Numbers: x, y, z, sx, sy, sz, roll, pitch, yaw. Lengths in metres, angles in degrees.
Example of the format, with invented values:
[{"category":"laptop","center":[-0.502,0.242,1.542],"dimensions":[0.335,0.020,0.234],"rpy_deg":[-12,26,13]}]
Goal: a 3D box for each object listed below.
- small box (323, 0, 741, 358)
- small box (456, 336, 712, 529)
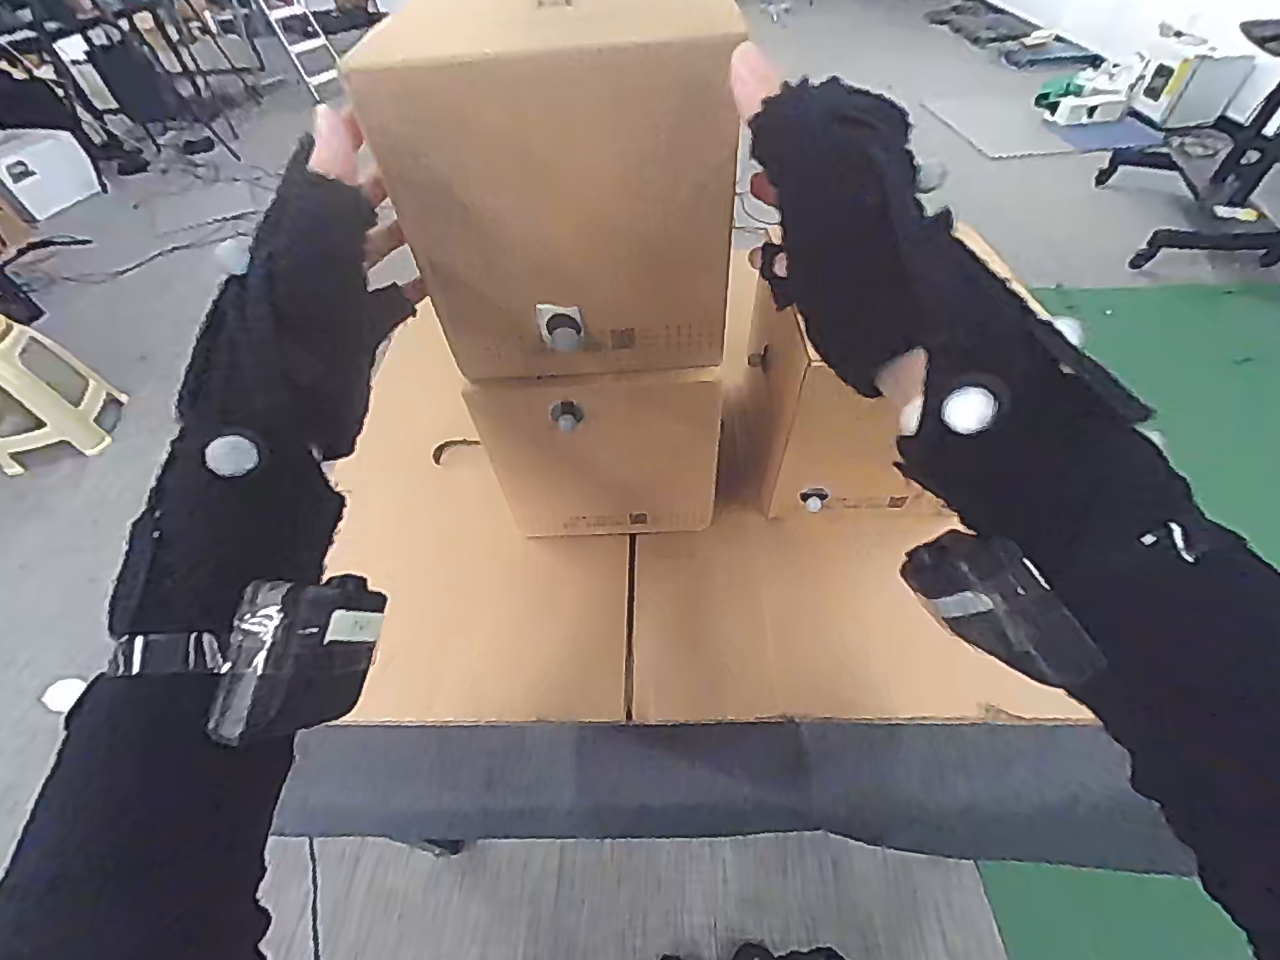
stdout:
[{"category":"small box","center":[-0.041,-0.195,0.320],"dimensions":[0.168,0.176,0.179],"rpy_deg":[-5,53,1]},{"category":"small box","center":[-0.030,-0.078,0.453],"dimensions":[0.168,0.176,0.179],"rpy_deg":[-3,50,4]}]
